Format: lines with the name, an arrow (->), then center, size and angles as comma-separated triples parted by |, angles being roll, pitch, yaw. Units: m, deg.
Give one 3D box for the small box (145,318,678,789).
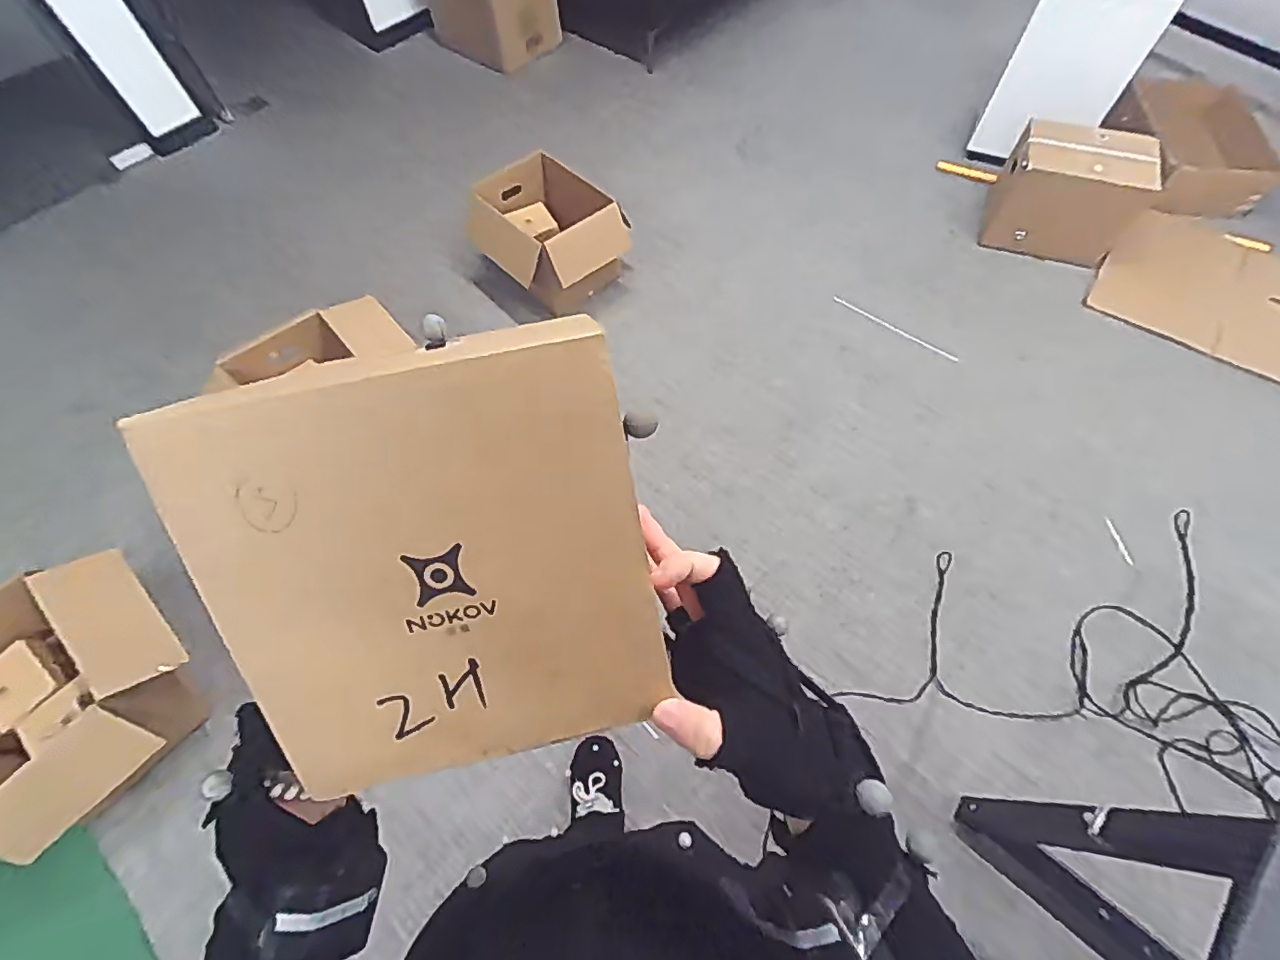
small box -> -0.085, 0.014, 0.289 | 0.168, 0.179, 0.176 | -11, 20, -4
